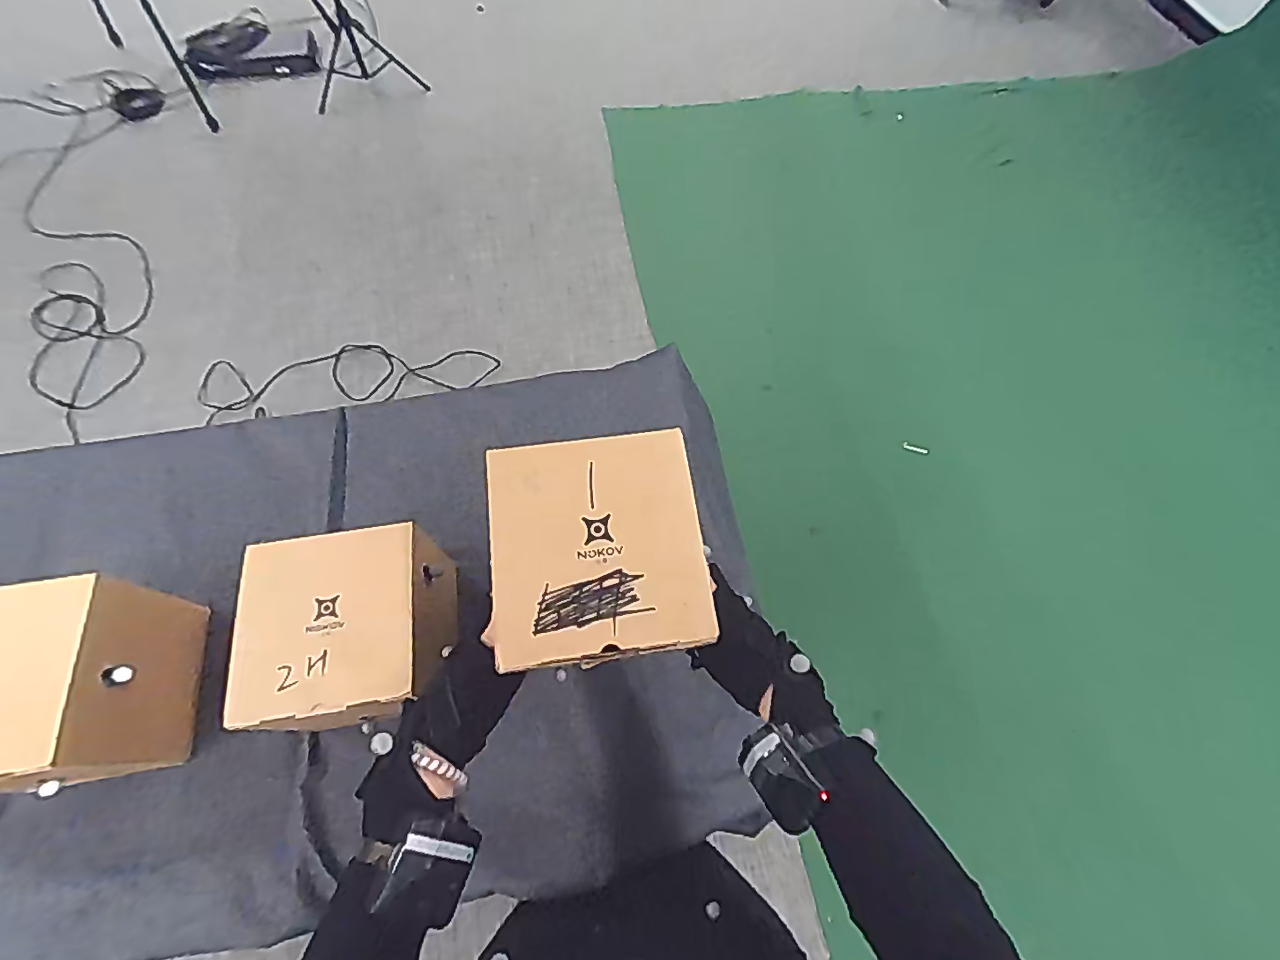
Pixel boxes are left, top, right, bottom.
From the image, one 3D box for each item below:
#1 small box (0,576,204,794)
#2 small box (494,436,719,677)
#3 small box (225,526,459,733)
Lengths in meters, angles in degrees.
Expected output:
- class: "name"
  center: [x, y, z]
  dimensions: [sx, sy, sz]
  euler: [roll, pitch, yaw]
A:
- class: "small box"
  center: [-0.595, 0.214, 0.554]
  dimensions: [0.168, 0.176, 0.179]
  euler: [-8, 66, -7]
- class: "small box"
  center: [-0.033, 0.078, 0.499]
  dimensions: [0.168, 0.176, 0.179]
  euler: [-6, 71, -5]
- class: "small box"
  center: [-0.302, 0.169, 0.590]
  dimensions: [0.168, 0.176, 0.179]
  euler: [-7, 66, -7]
